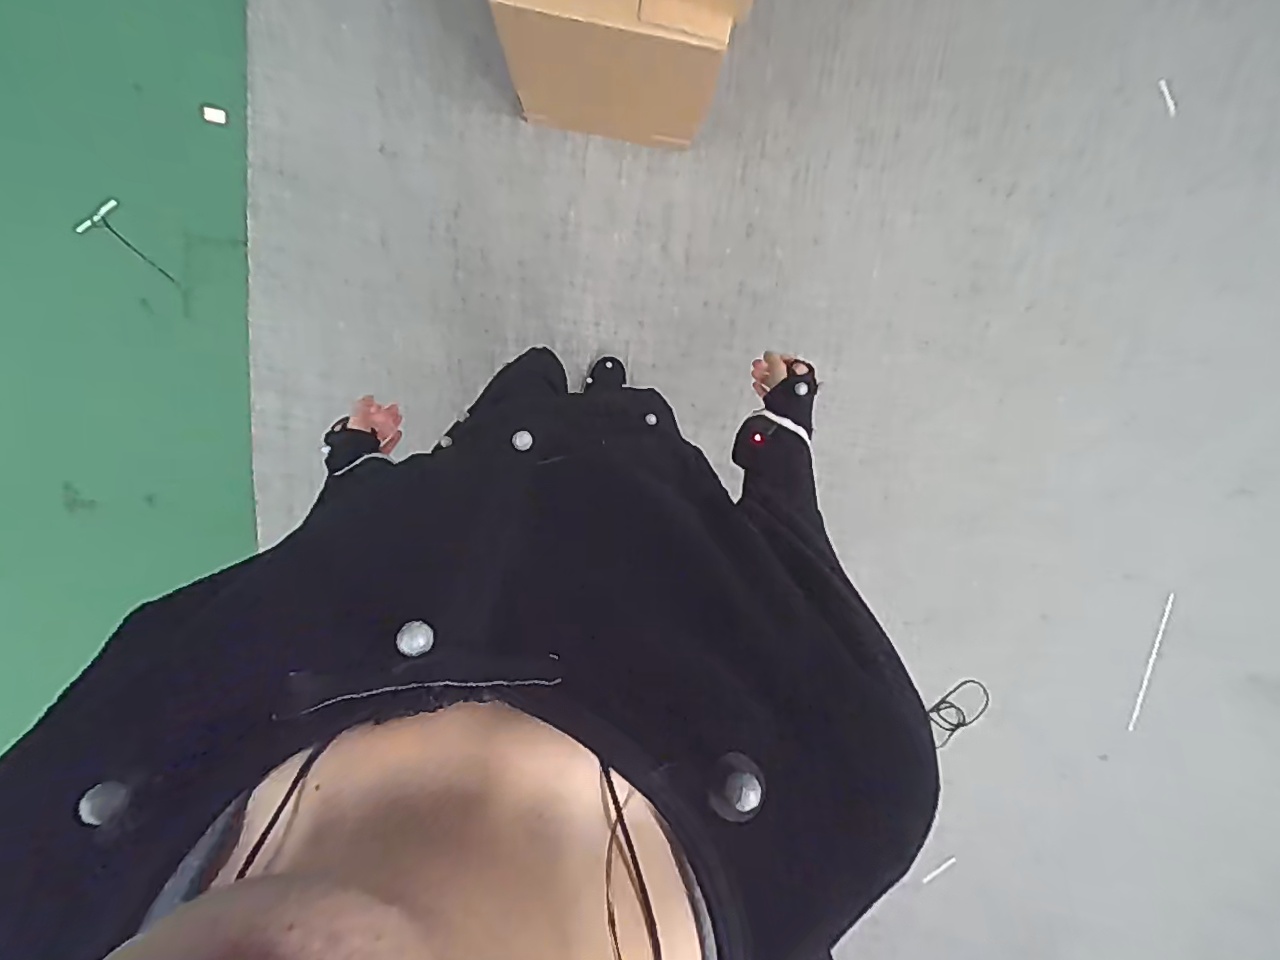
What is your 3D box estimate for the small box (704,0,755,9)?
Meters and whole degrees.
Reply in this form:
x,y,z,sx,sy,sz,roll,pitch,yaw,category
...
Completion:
x,y,z,sx,sy,sz,roll,pitch,yaw,category
0.119,-0.849,0.797,0.179,0.176,0.168,10,103,-5,small box
